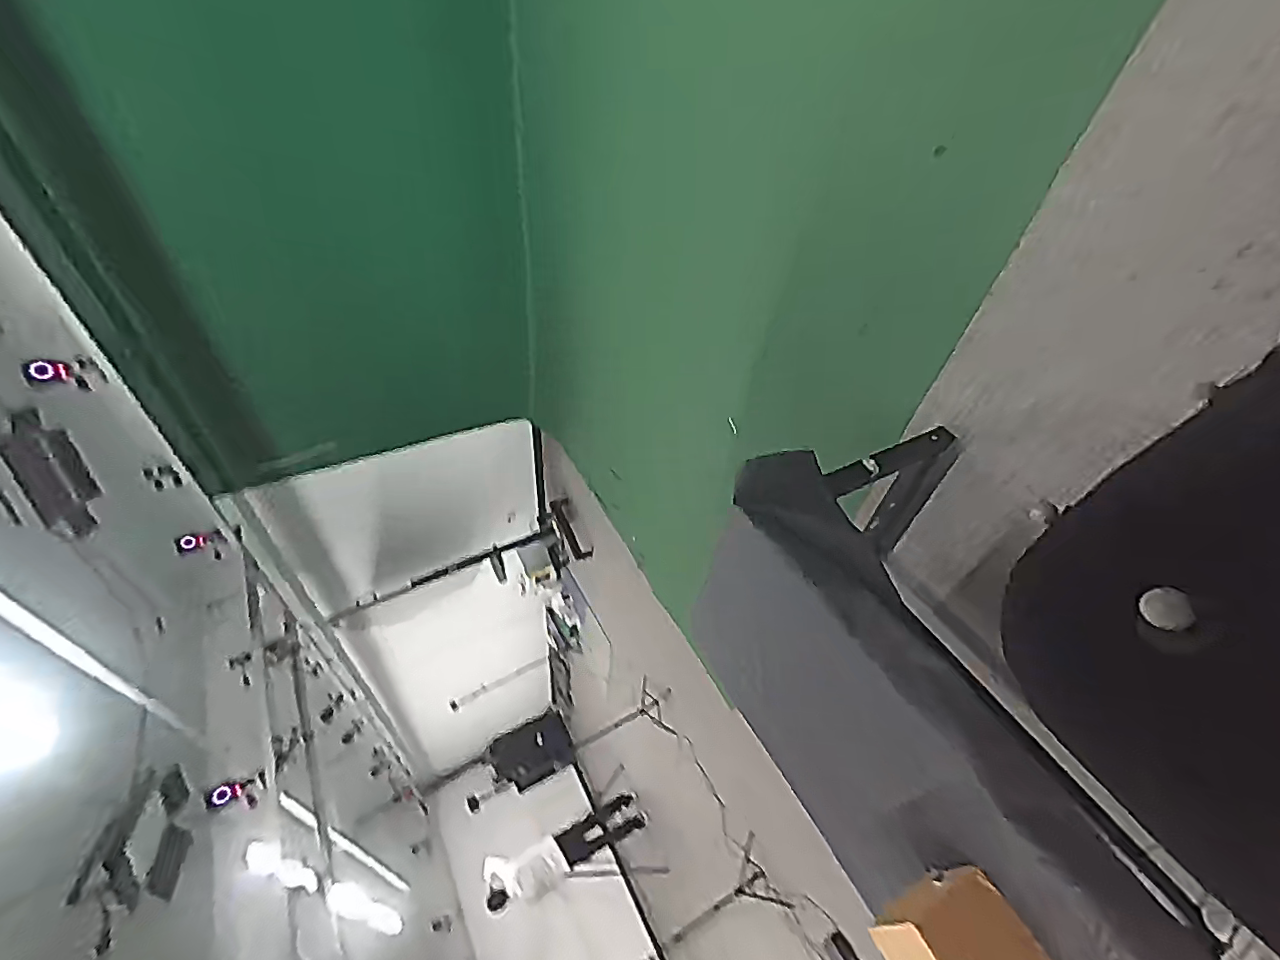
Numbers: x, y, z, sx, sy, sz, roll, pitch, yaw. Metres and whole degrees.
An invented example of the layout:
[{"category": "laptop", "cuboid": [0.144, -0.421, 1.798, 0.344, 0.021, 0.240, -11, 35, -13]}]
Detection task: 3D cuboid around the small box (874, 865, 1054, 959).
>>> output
[{"category": "small box", "cuboid": [0.530, 0.771, 0.876, 0.179, 0.176, 0.168, 56, 151, 33]}]
